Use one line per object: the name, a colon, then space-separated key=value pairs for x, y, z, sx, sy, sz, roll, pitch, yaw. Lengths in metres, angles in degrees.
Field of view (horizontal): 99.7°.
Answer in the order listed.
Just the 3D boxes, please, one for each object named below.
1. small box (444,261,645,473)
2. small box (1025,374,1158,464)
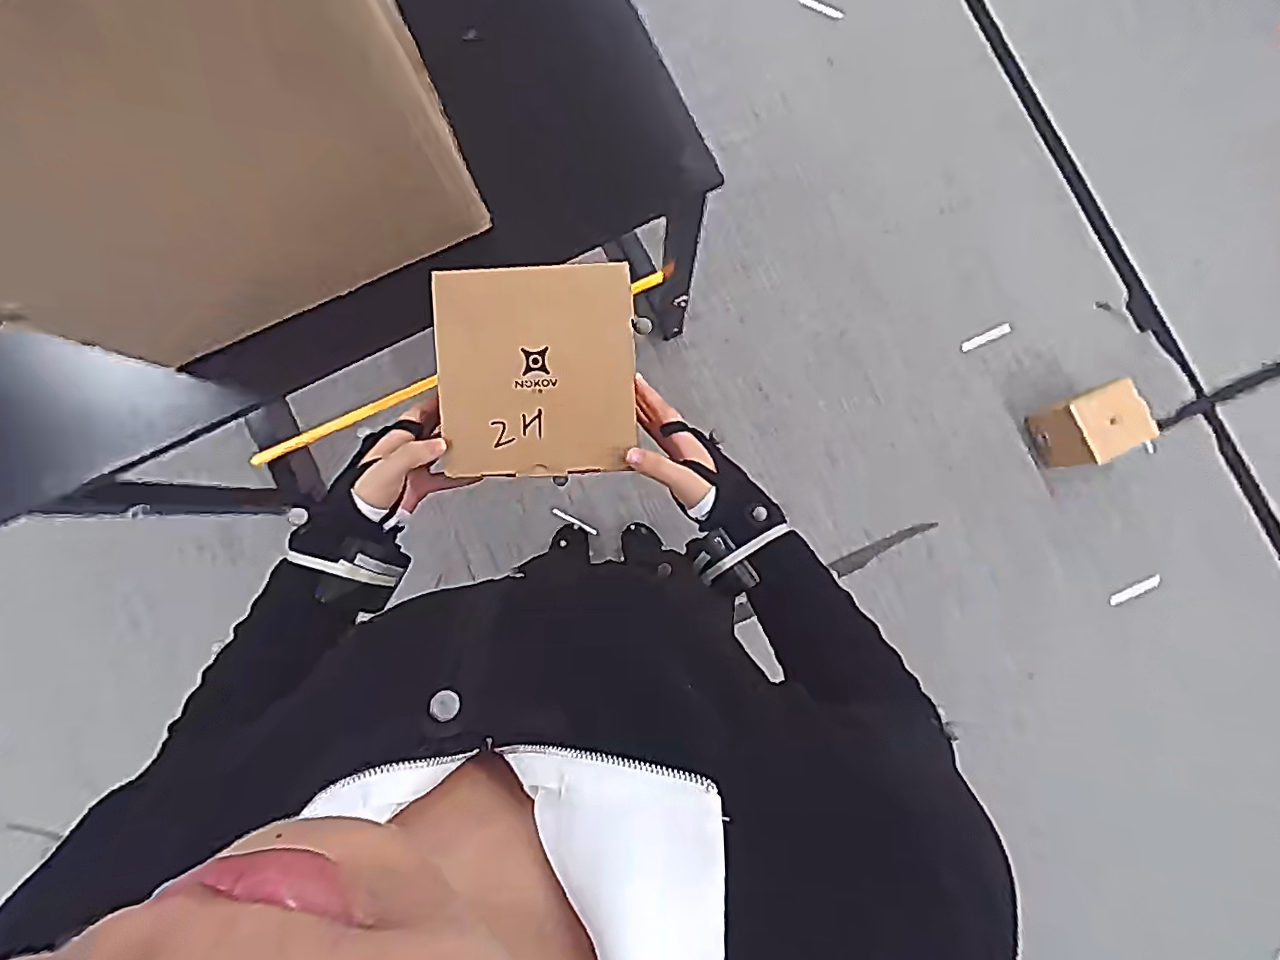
small box: x=-0.080 y=-0.097 z=0.530 sx=0.168 sy=0.176 sz=0.179 roll=-1 pitch=93 yaw=2
small box: x=1.179 y=-0.154 z=1.427 sx=0.179 sy=0.176 sz=0.168 roll=-25 pitch=86 yaw=0
